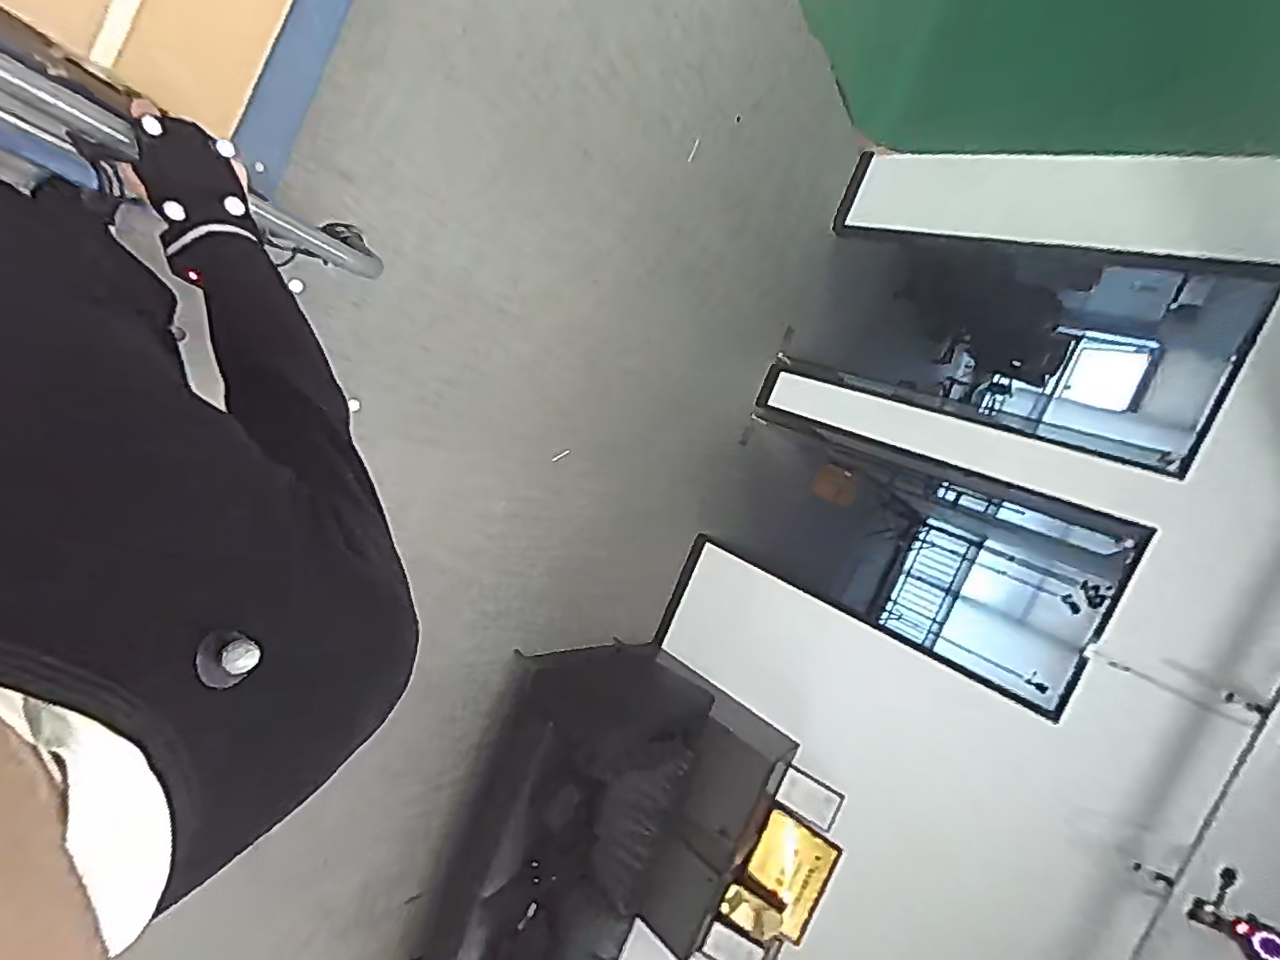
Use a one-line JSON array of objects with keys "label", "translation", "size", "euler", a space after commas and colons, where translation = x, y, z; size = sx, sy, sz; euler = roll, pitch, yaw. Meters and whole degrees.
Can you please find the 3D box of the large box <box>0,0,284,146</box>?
[{"label": "large box", "translation": [-0.778, -0.795, 0.819], "size": [0.320, 0.320, 0.408], "euler": [23, 92, -56]}]
